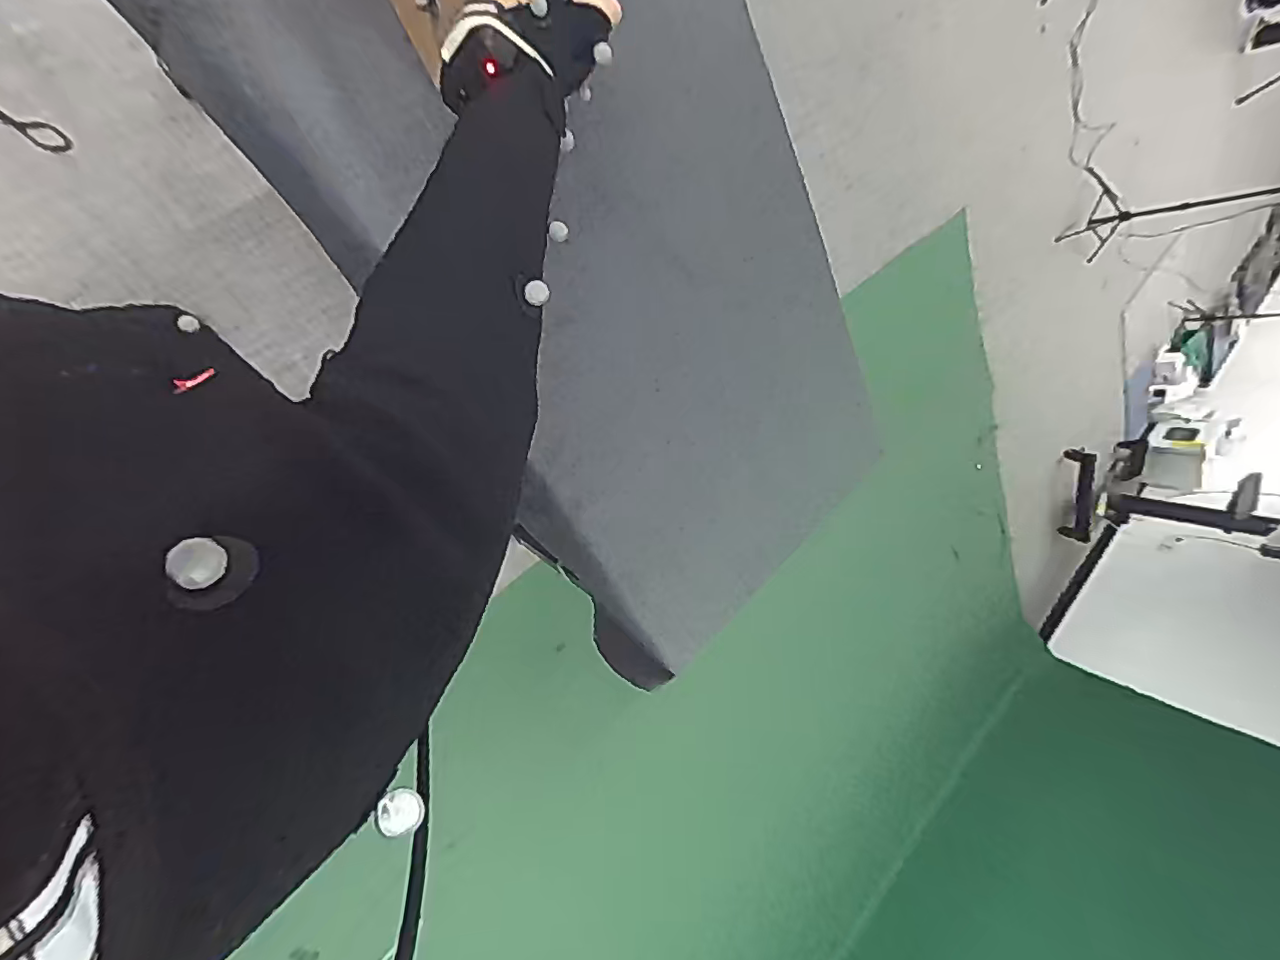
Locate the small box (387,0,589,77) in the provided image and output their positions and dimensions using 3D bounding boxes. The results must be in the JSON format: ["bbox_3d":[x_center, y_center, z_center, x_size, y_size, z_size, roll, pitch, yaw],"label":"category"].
[{"bbox_3d":[-0.142,-0.496,0.478,0.168,0.176,0.179,-40,121,-20],"label":"small box"}]
